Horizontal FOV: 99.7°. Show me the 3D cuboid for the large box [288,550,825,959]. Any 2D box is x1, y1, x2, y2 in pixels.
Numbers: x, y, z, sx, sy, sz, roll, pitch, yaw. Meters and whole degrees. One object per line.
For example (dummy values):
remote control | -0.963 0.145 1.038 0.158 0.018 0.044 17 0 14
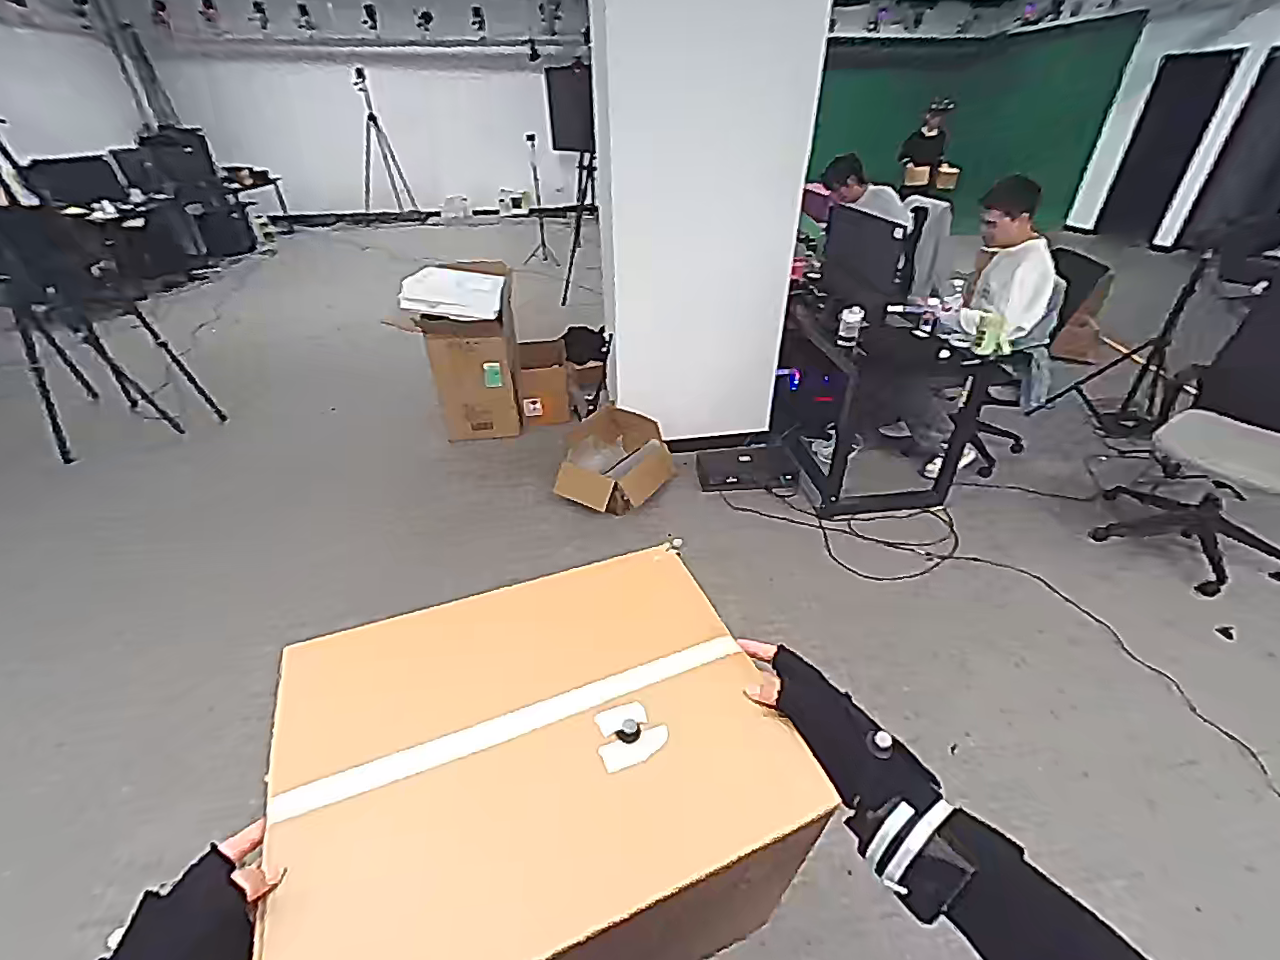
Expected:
large box | -0.093 0.332 0.569 0.408 0.320 0.320 -13 40 -21
